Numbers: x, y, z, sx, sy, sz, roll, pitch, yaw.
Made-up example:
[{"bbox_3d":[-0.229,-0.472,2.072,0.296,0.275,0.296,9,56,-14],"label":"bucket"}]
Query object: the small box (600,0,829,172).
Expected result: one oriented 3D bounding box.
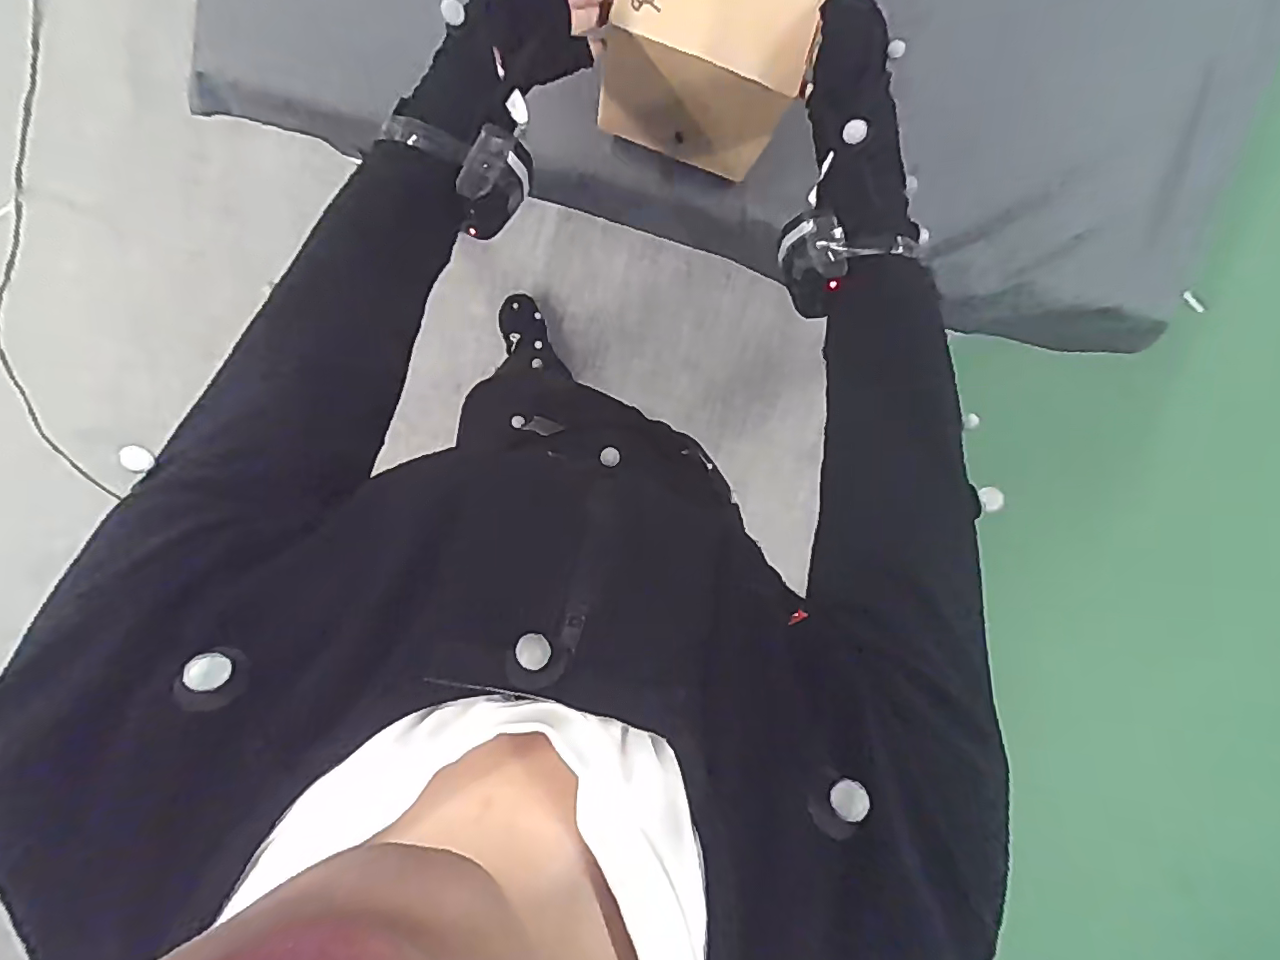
[{"bbox_3d":[0.068,-0.441,0.537,0.179,0.176,0.168,16,94,-10],"label":"small box"}]
